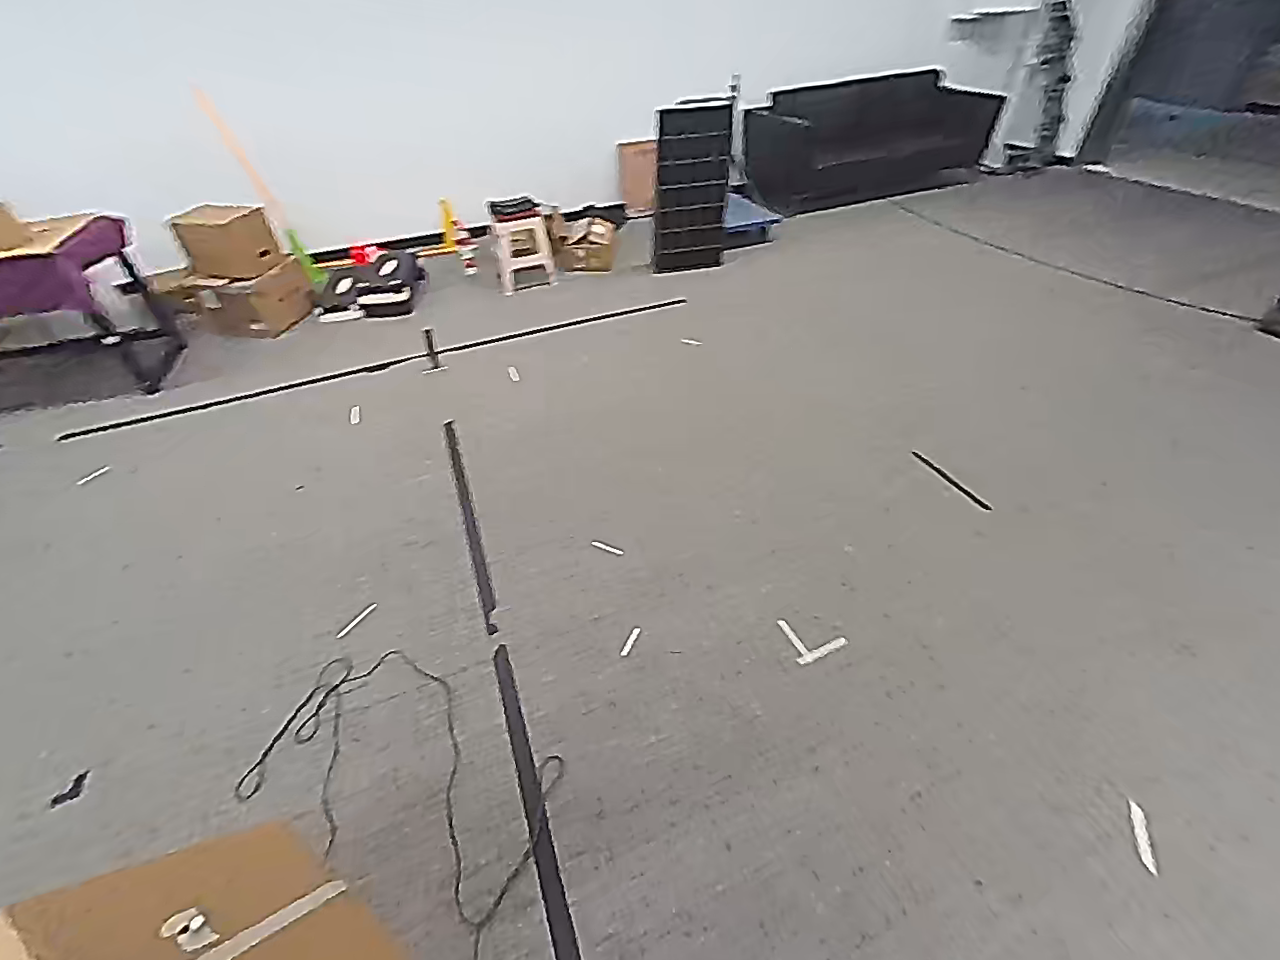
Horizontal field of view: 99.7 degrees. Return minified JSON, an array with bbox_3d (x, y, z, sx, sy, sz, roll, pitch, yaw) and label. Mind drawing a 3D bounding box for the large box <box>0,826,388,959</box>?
[{"bbox_3d":[-0.585,0.689,0.620,0.320,0.408,0.320,33,74,13],"label":"large box"}]
